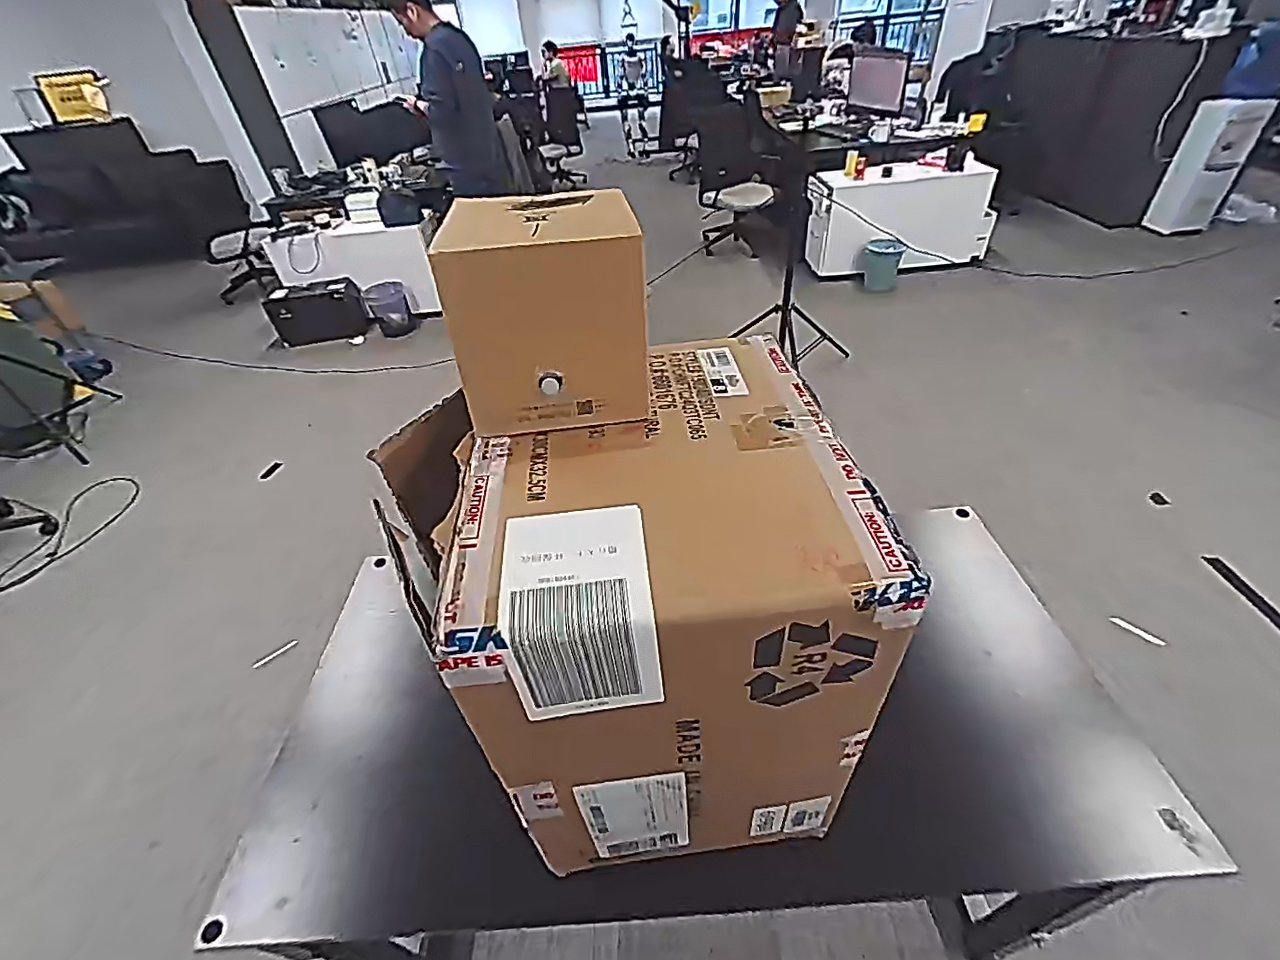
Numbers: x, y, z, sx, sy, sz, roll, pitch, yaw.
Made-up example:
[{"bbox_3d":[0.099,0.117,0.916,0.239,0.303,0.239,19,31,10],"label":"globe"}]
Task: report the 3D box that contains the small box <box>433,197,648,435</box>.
[{"bbox_3d":[-0.085,-0.164,0.531,0.168,0.176,0.179,-7,39,-4],"label":"small box"}]
